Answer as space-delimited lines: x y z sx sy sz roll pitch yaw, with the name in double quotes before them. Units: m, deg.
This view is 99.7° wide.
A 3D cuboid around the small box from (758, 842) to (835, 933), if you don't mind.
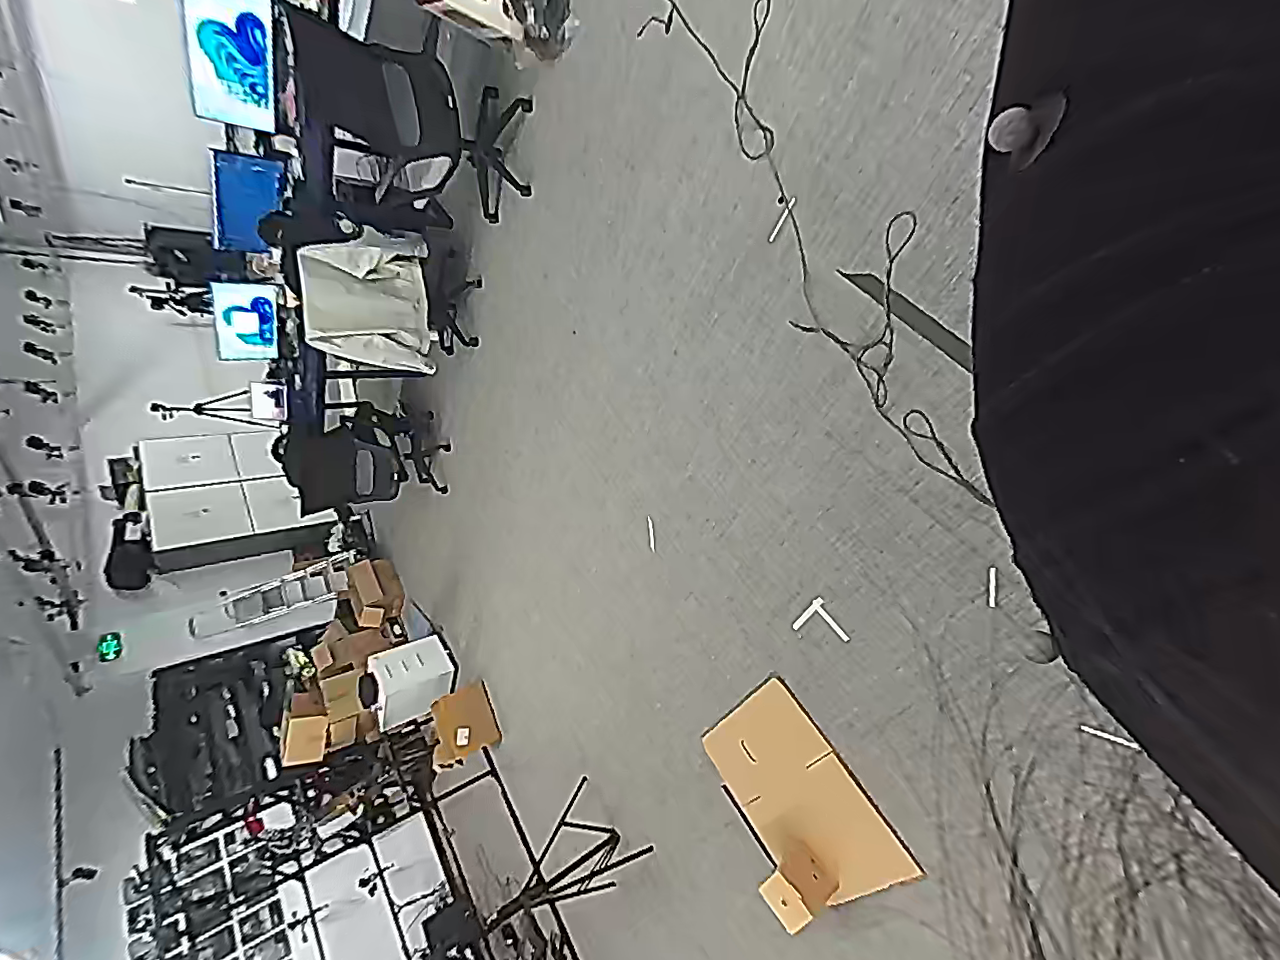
"small box" 0.557 1.439 1.916 0.168 0.176 0.179 44 129 33
